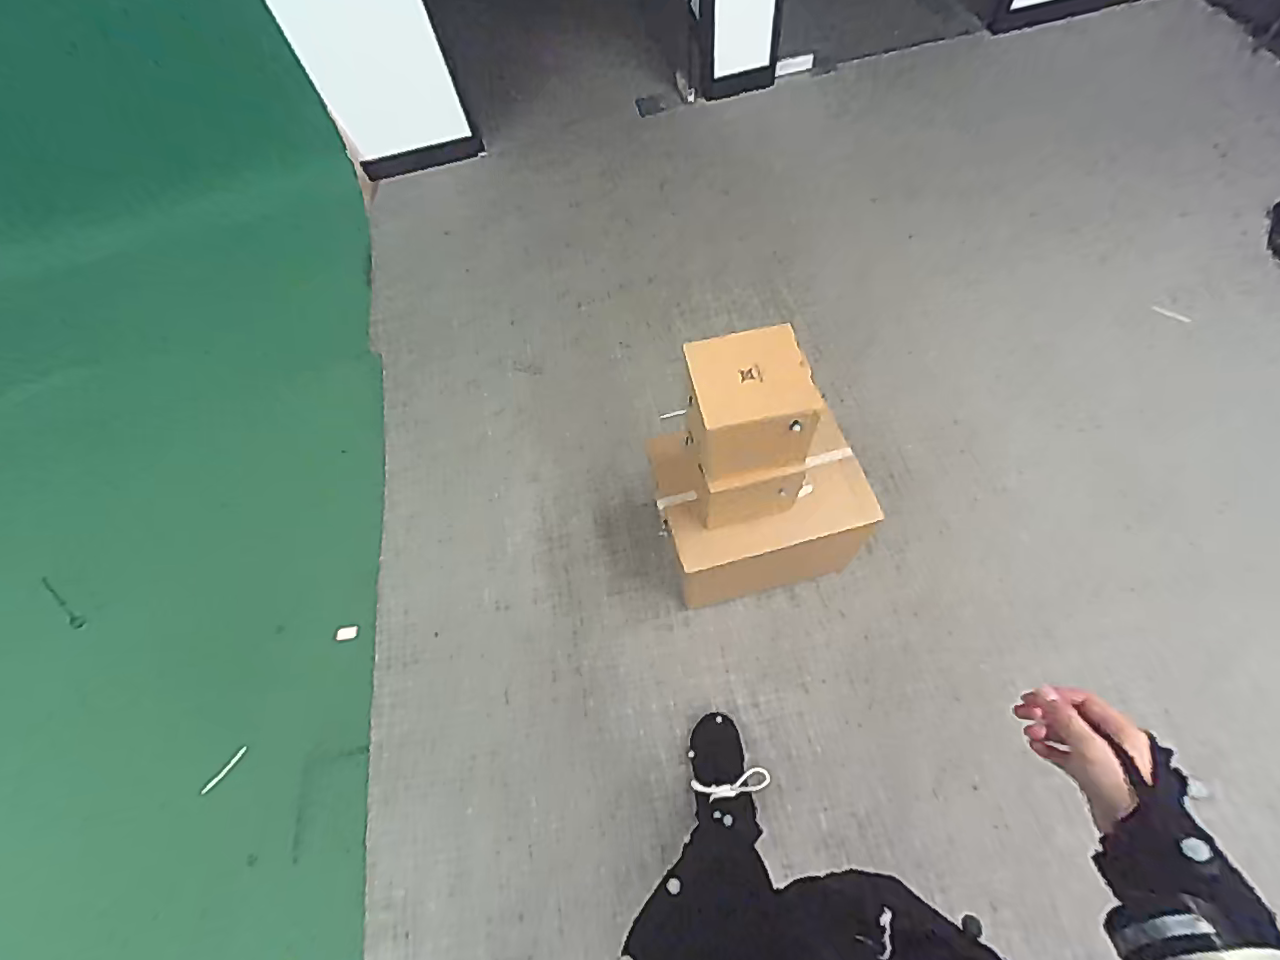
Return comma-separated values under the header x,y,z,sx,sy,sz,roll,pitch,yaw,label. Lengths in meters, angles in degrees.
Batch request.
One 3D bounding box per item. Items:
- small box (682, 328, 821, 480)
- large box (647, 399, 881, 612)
x,y,z,sx,sy,sz,roll,pitch,yaw,label
0.172,-0.116,0.882,0.179,0.176,0.168,-11,62,0,small box
0.254,0.070,1.237,0.408,0.320,0.320,-15,63,-2,large box
